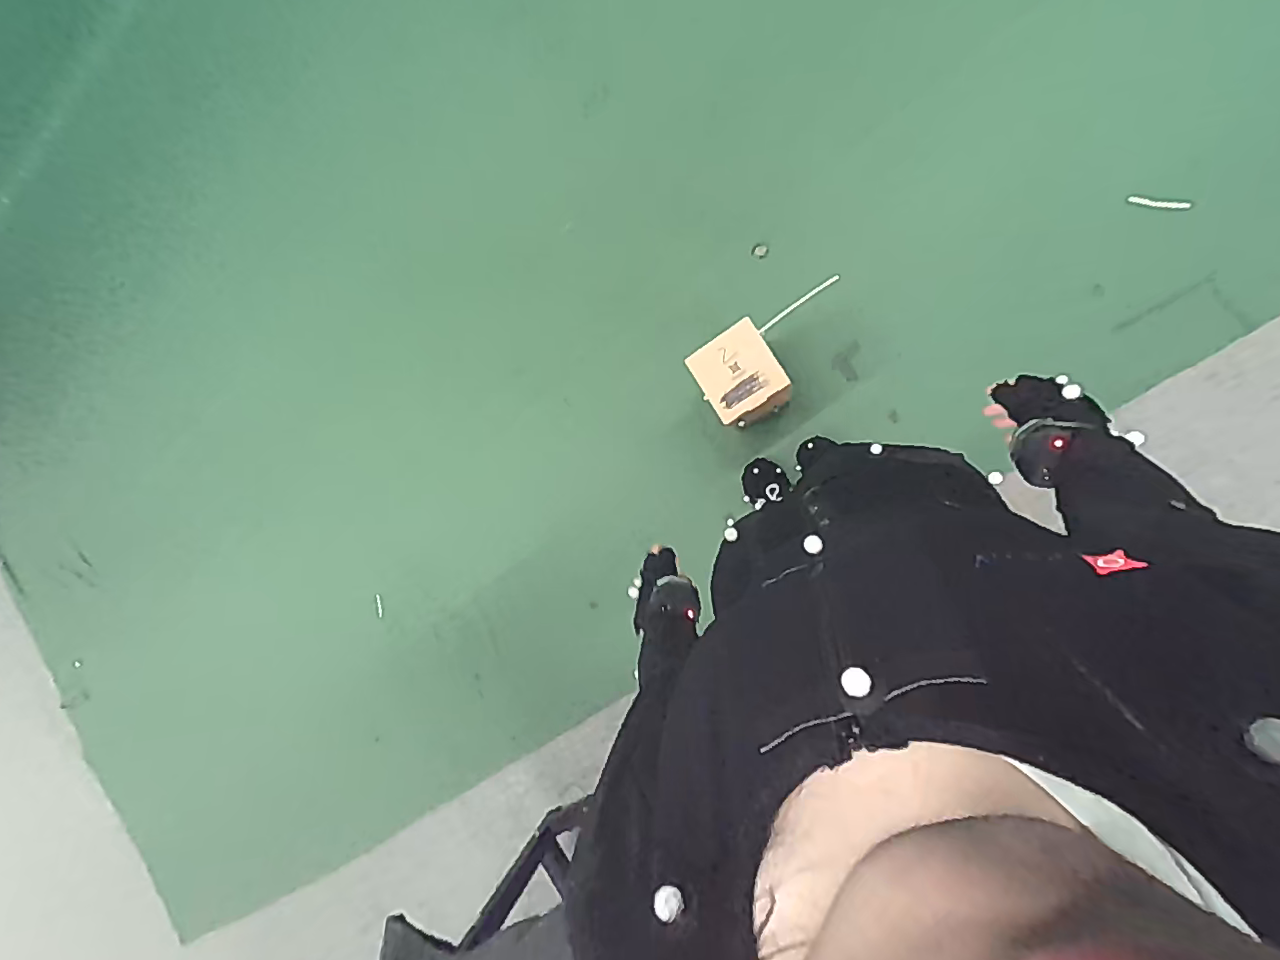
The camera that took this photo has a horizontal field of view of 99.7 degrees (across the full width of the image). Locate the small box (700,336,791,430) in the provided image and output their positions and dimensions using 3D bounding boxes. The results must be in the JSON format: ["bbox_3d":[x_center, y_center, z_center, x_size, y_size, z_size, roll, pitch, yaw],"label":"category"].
[{"bbox_3d":[0.279,-0.243,1.395,0.168,0.176,0.179,-31,85,16],"label":"small box"}]
